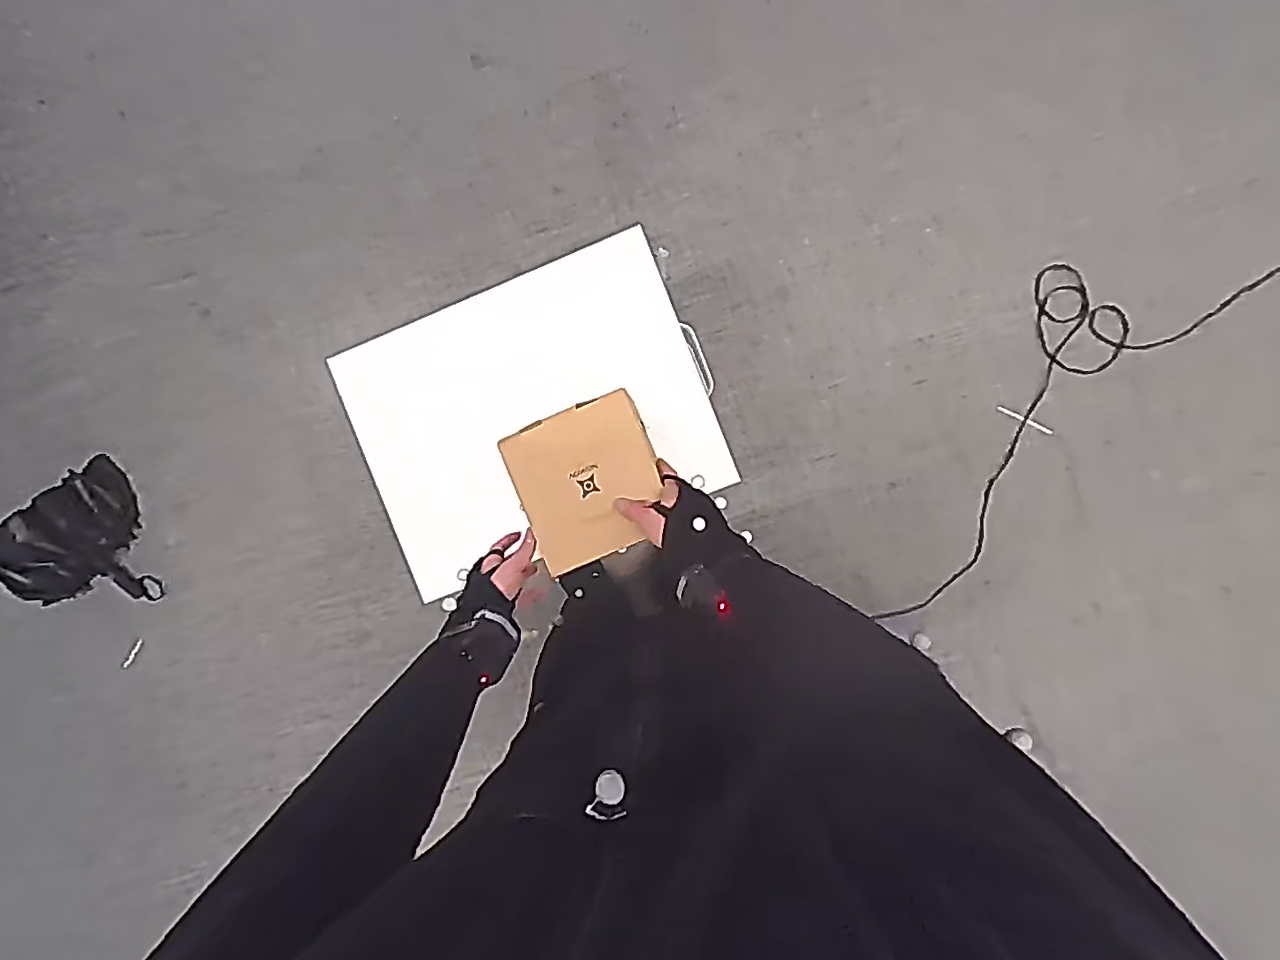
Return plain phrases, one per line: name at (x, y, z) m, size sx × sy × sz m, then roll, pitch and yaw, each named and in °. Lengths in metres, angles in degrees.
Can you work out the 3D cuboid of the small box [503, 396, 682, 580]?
small box at (-0.053, 0.009, 0.713) m, size 0.168 × 0.176 × 0.179 m, roll -23°, pitch 89°, yaw 5°
